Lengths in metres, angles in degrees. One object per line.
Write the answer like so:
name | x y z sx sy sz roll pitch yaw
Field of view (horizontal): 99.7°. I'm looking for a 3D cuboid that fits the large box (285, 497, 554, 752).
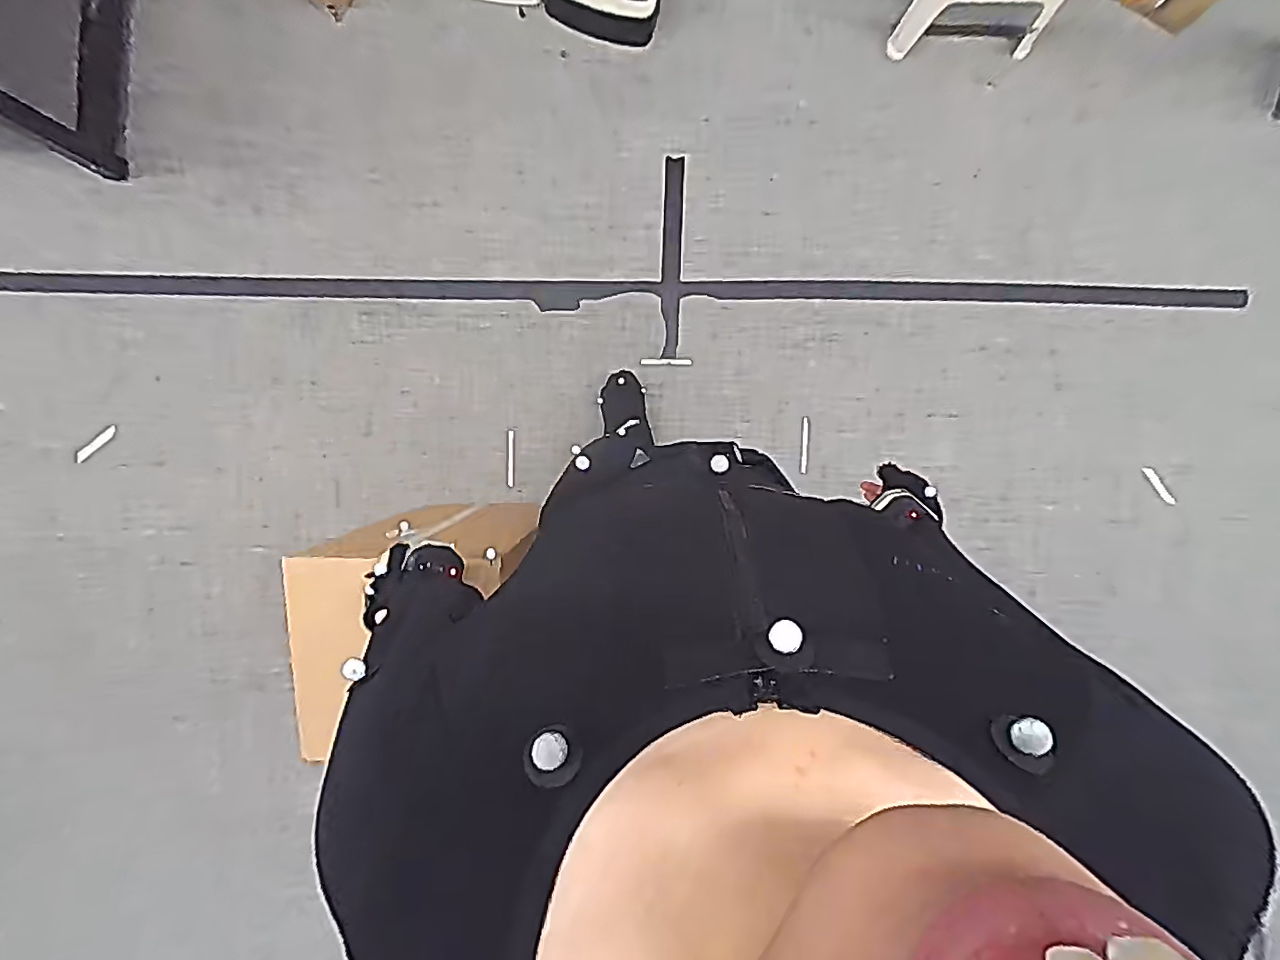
large box | -0.343 0.220 0.970 0.320 0.408 0.320 -1 99 3
